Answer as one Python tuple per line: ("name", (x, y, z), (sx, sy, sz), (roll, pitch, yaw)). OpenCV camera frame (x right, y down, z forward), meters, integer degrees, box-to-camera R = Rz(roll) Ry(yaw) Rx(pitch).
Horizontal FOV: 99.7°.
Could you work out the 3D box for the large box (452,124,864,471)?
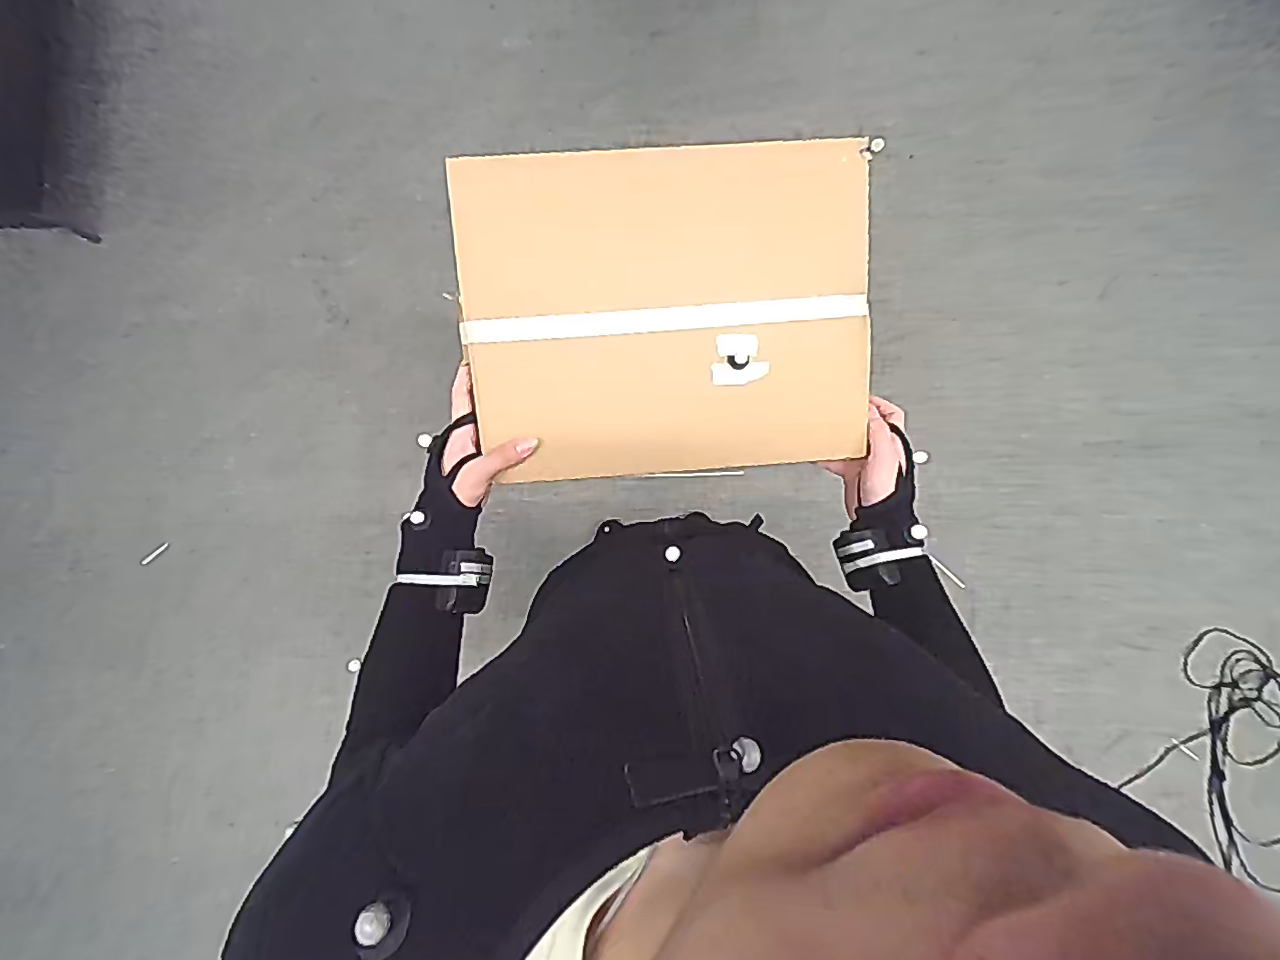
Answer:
("large box", (0.021, -0.205, 0.691), (0.408, 0.320, 0.320), (-5, 102, -3))
